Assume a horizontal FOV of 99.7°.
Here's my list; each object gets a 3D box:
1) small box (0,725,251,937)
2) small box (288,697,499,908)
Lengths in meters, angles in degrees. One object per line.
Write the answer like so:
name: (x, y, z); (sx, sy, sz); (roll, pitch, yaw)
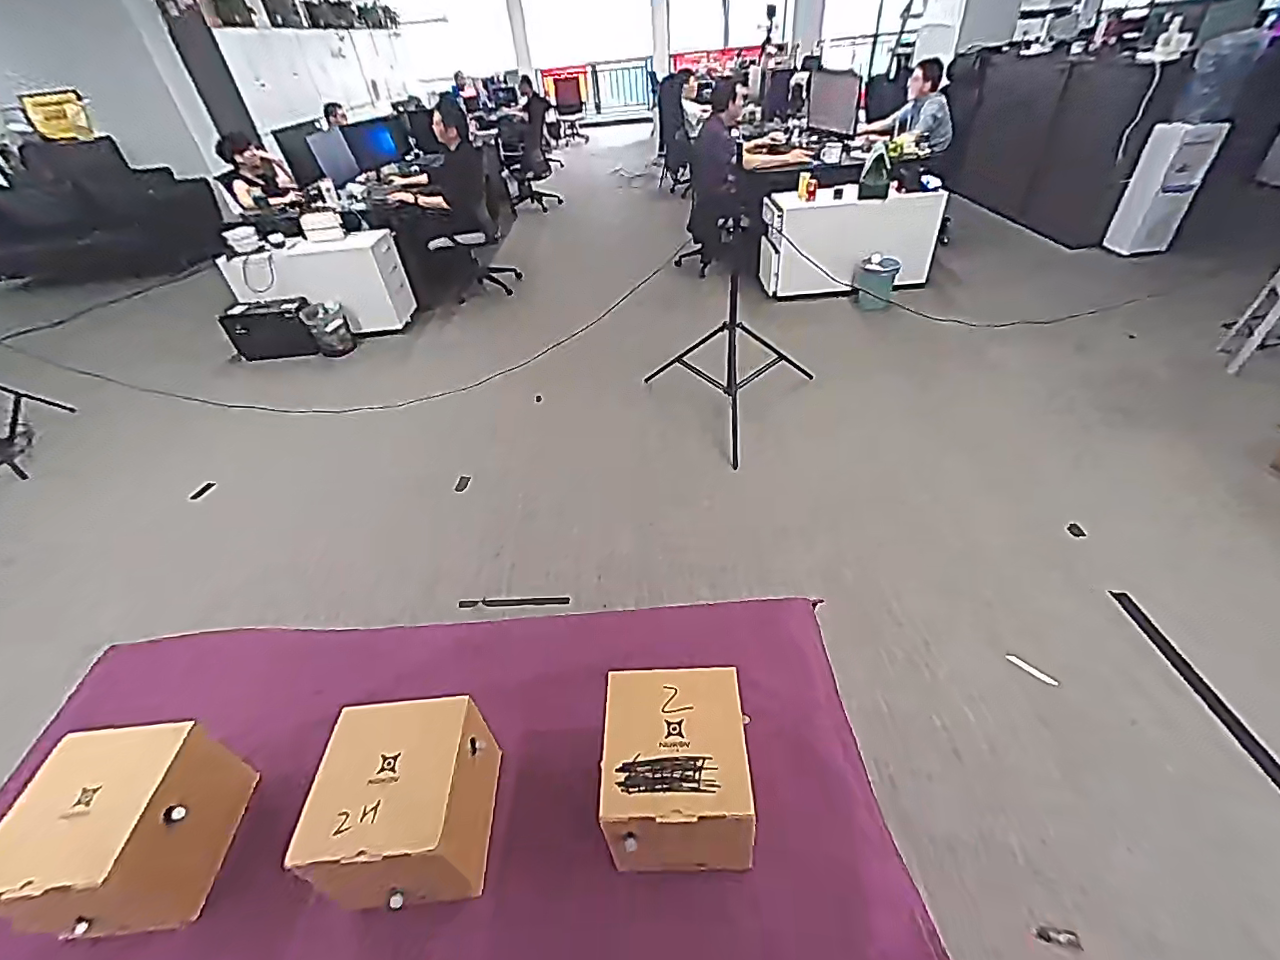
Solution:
small box: (-0.635, 0.436, 0.677); (0.168, 0.176, 0.179); (-6, 41, -1)
small box: (-0.284, 0.400, 0.675); (0.168, 0.176, 0.179); (-6, 40, 1)
